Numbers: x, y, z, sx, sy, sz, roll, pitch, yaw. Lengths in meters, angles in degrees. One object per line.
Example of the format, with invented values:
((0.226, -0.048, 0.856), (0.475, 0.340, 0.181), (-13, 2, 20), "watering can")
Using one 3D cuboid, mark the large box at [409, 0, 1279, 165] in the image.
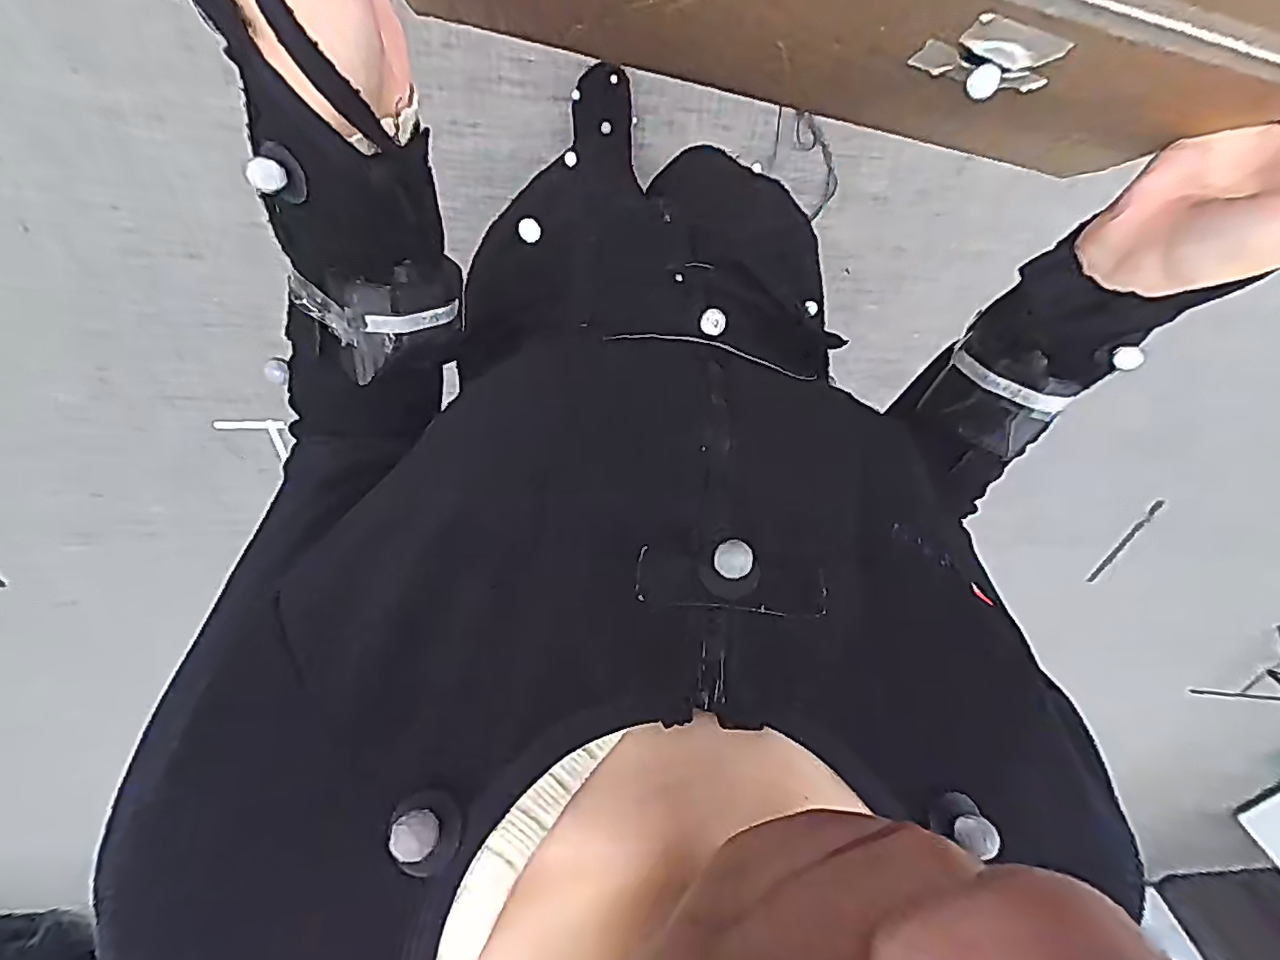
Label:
((0.108, -0.327, 0.137), (0.408, 0.320, 0.320), (8, 107, -8), "large box")
